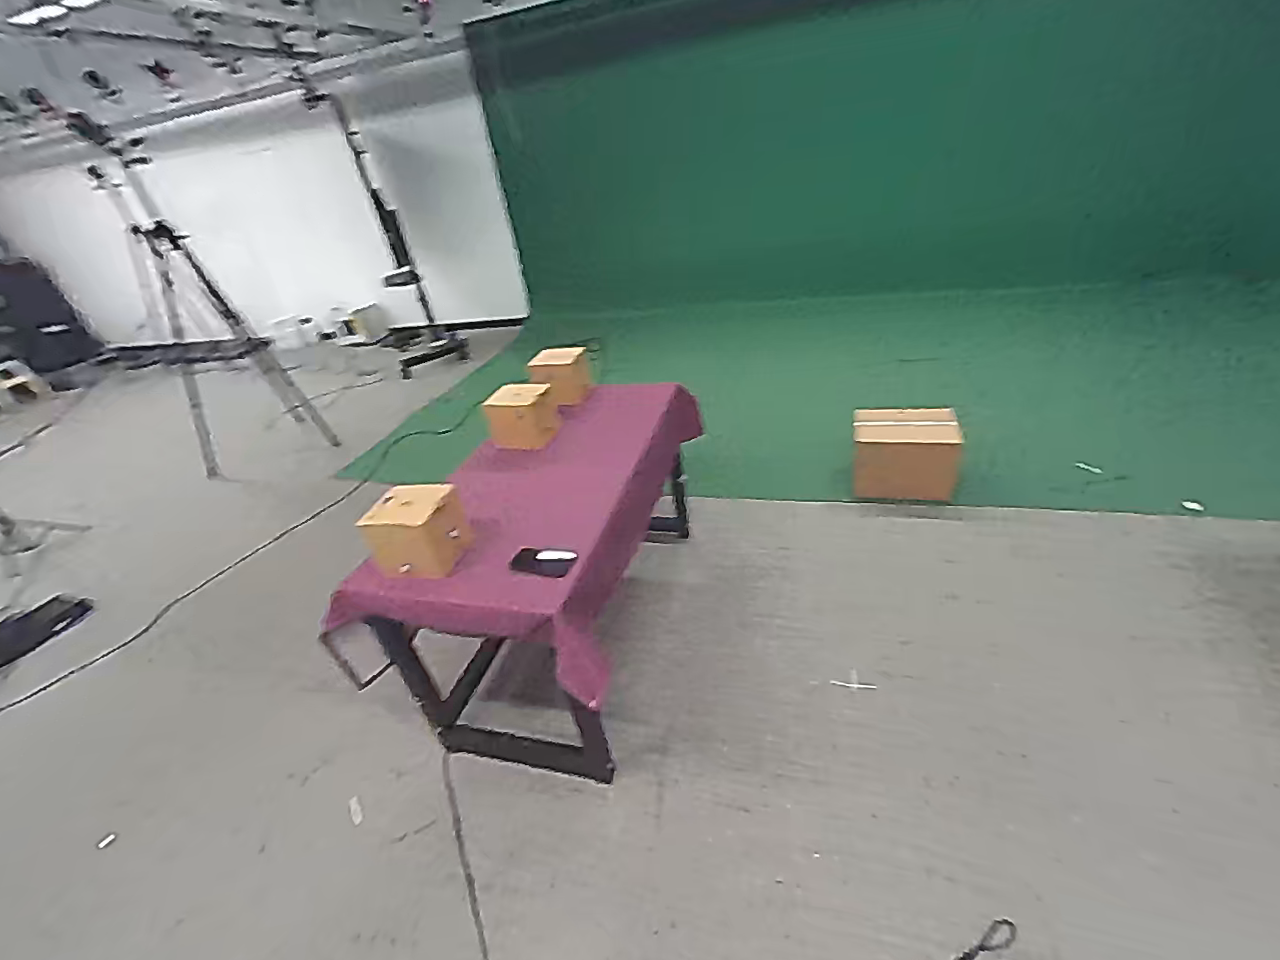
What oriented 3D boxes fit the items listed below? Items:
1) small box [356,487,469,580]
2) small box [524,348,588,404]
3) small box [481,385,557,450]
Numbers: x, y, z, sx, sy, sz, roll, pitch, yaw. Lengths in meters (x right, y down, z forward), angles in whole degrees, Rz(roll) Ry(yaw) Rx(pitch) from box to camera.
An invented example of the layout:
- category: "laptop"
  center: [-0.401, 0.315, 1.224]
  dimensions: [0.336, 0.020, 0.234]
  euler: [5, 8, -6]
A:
- category: "small box"
  center: [-0.552, 0.134, 1.345]
  dimensions: [0.179, 0.176, 0.168]
  euler: [-1, 33, 13]
- category: "small box"
  center: [-0.320, -0.402, 2.107]
  dimensions: [0.179, 0.176, 0.168]
  euler: [1, 35, 17]
- category: "small box"
  center: [-0.409, -0.215, 1.849]
  dimensions: [0.179, 0.176, 0.168]
  euler: [3, 34, 18]
